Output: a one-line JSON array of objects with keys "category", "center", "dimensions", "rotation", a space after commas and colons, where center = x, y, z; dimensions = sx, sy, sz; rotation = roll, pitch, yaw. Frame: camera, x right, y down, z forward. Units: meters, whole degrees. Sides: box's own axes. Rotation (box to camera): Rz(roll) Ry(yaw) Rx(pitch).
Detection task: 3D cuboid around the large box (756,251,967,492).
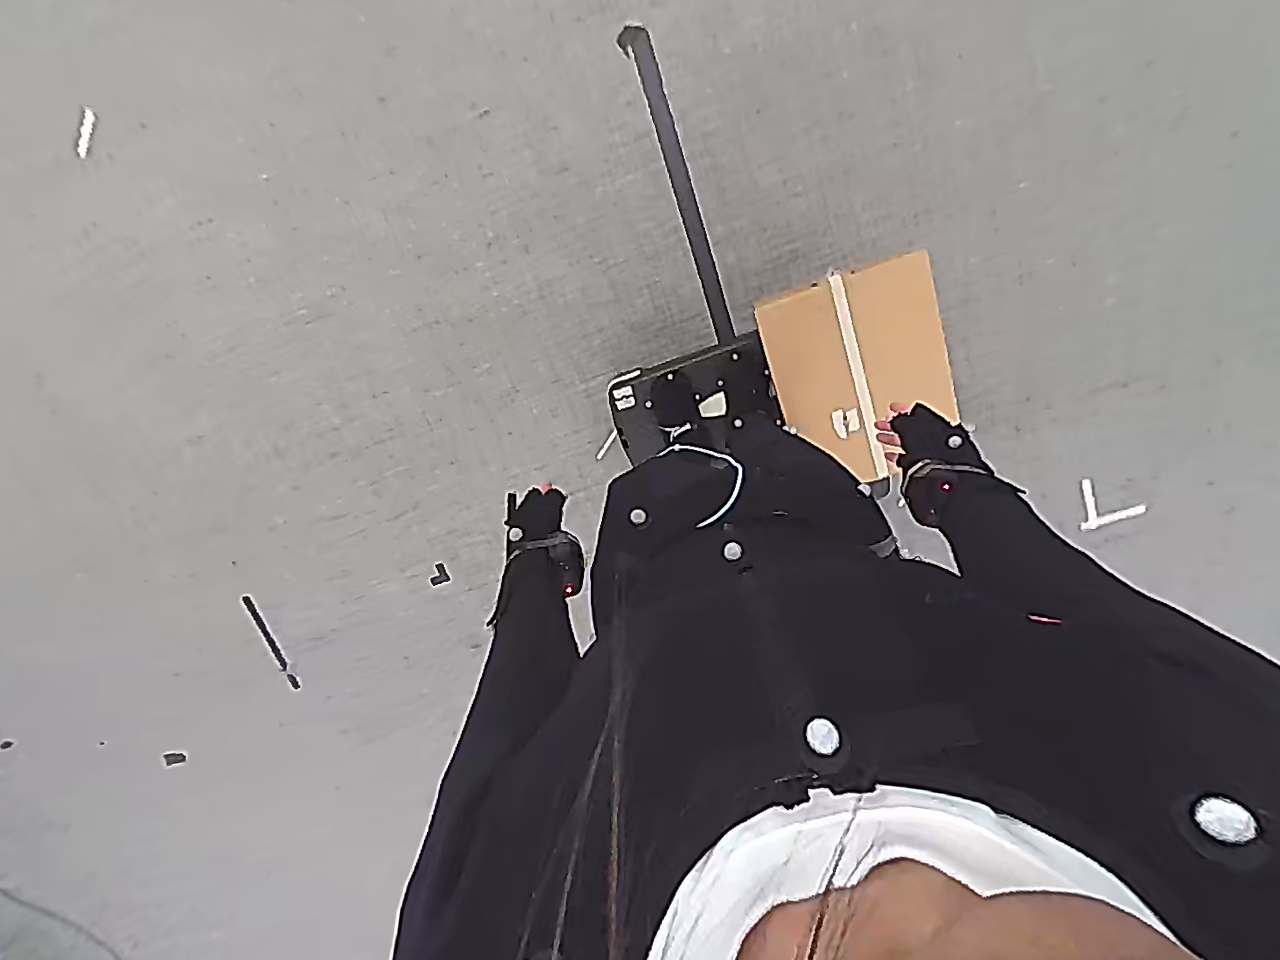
[{"category": "large box", "center": [0.462, -0.243, 1.189], "dimensions": [0.320, 0.320, 0.408], "rotation": [-15, 107, 17]}]
